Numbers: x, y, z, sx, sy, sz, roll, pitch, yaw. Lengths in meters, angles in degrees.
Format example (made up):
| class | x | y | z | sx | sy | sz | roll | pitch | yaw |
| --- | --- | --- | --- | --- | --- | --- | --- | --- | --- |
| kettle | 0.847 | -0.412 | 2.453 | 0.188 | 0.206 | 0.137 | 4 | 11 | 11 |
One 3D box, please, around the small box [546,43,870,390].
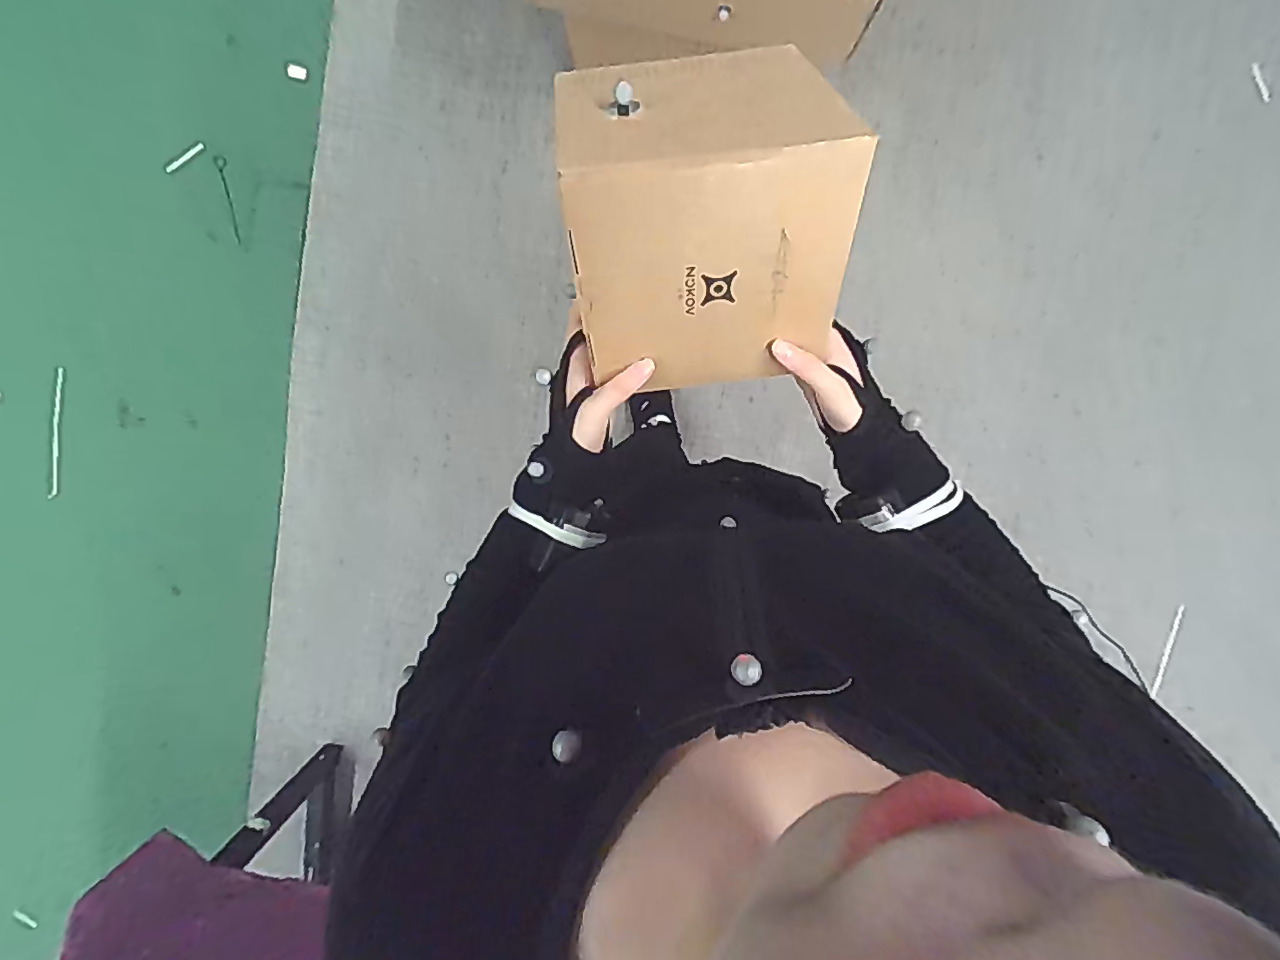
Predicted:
| class | x | y | z | sx | sy | sz | roll | pitch | yaw |
| --- | --- | --- | --- | --- | --- | --- | --- | --- | --- |
| small box | 0.034 | -0.191 | 0.396 | 0.179 | 0.168 | 0.176 | -7 | 52 | -1 |
